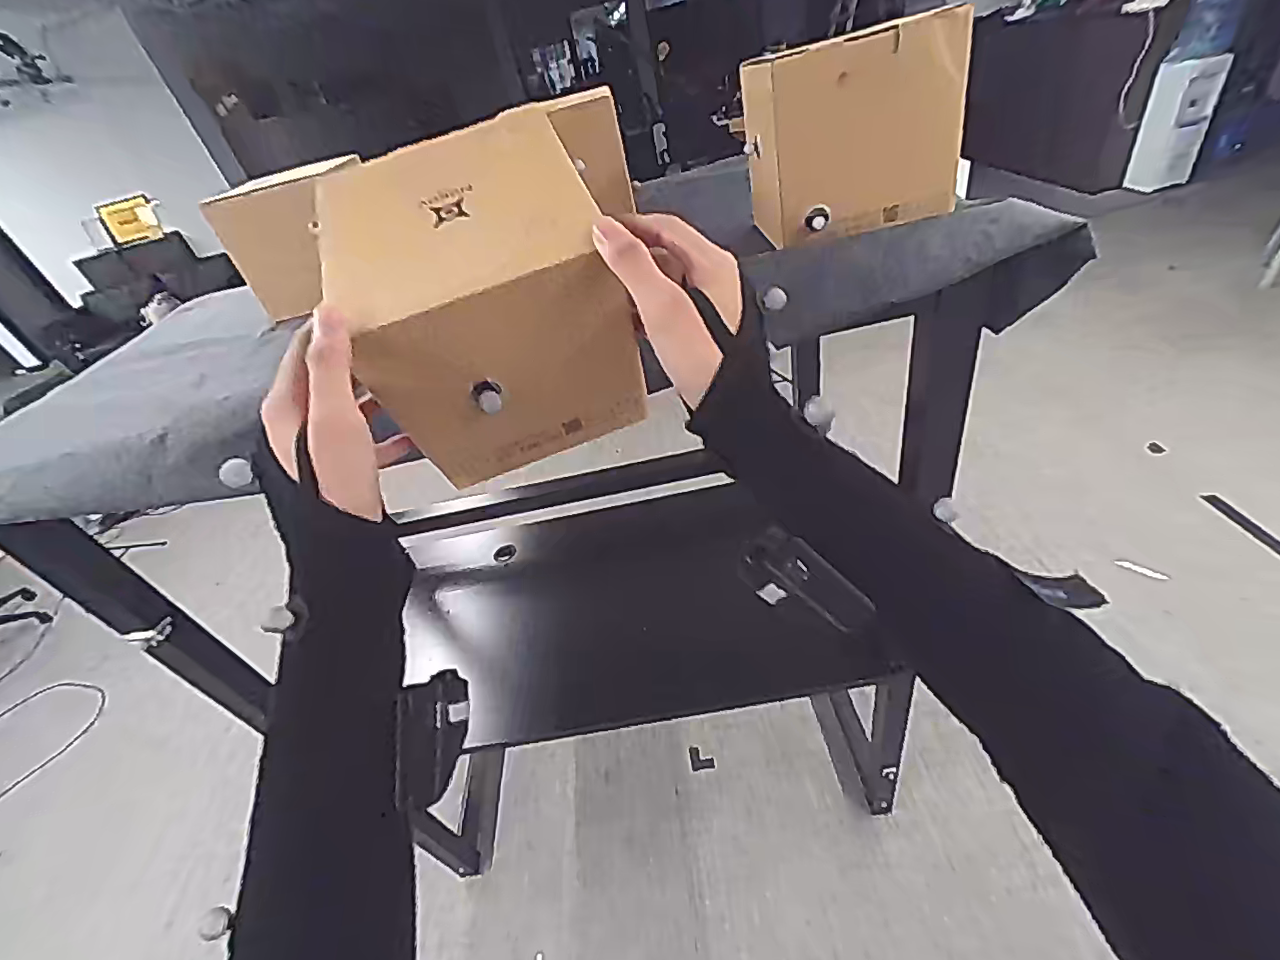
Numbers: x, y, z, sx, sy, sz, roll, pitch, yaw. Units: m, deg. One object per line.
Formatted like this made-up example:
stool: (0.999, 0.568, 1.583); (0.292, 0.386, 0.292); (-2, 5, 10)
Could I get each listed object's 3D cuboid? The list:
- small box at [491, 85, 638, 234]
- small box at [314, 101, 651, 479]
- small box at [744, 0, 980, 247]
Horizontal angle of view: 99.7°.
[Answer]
small box: (-0.102, -0.458, 0.794); (0.168, 0.176, 0.179); (-13, 38, 4)
small box: (-0.100, -0.121, 0.389); (0.168, 0.176, 0.179); (-21, 59, -4)
small box: (0.209, -0.351, 0.548); (0.168, 0.176, 0.179); (-11, 35, 7)
